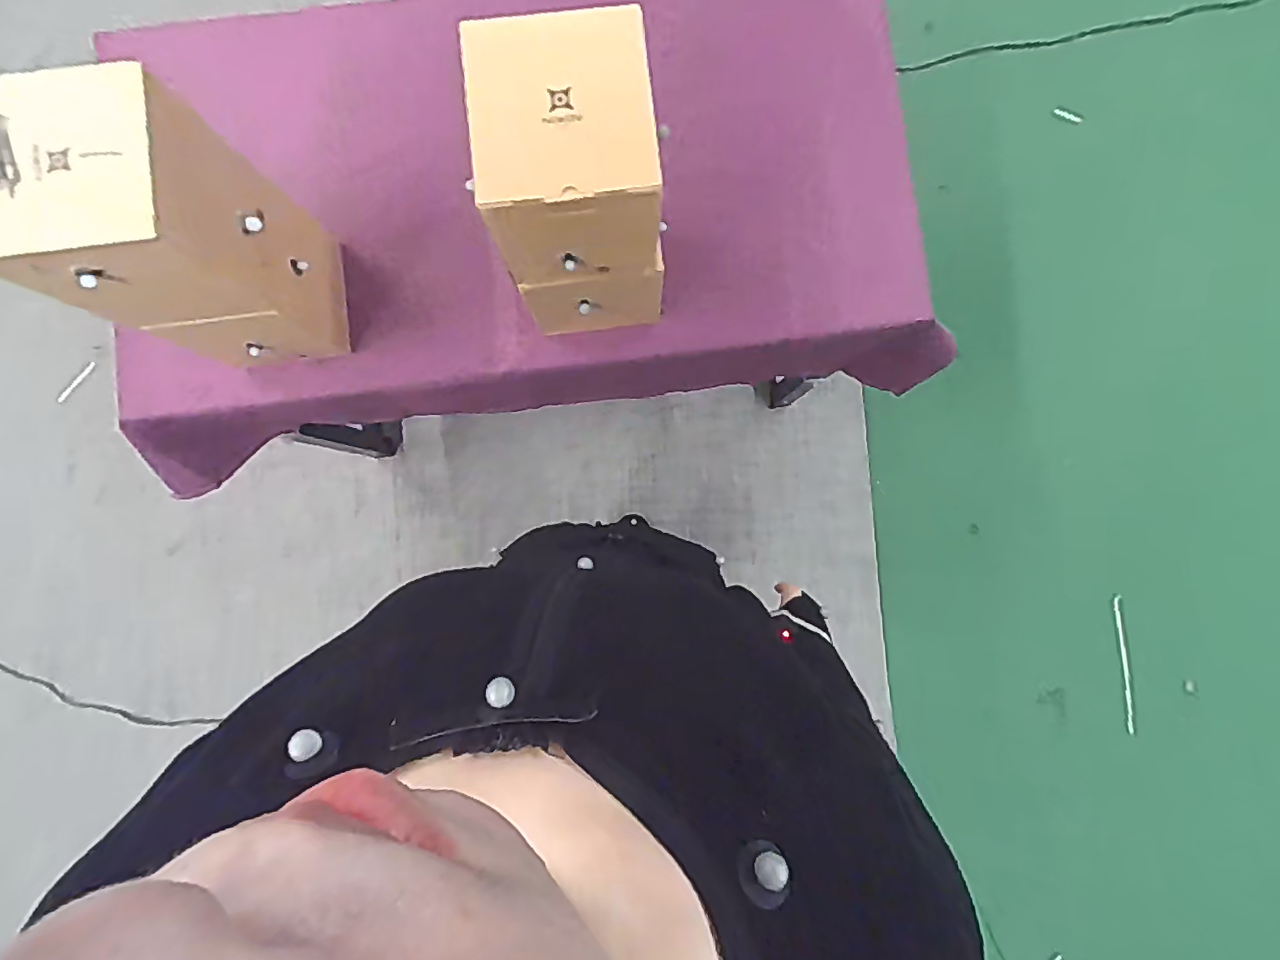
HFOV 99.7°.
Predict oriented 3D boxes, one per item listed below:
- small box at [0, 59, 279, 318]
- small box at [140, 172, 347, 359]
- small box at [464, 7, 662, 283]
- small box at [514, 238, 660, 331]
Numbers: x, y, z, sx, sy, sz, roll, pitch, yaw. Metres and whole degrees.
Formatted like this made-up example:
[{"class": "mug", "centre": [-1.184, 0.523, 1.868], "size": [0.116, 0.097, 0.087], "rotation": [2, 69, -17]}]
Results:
[{"class": "small box", "centre": [-0.513, -0.278, 0.553], "size": [0.179, 0.176, 0.168], "rotation": [-7, 87, -1]}, {"class": "small box", "centre": [-0.514, -0.268, 0.718], "size": [0.168, 0.176, 0.179], "rotation": [-7, 86, -1]}, {"class": "small box", "centre": [-0.071, -0.329, 0.560], "size": [0.168, 0.176, 0.179], "rotation": [-6, 87, -1]}, {"class": "small box", "centre": [-0.068, -0.312, 0.723], "size": [0.179, 0.176, 0.168], "rotation": [-8, 87, 0]}]
